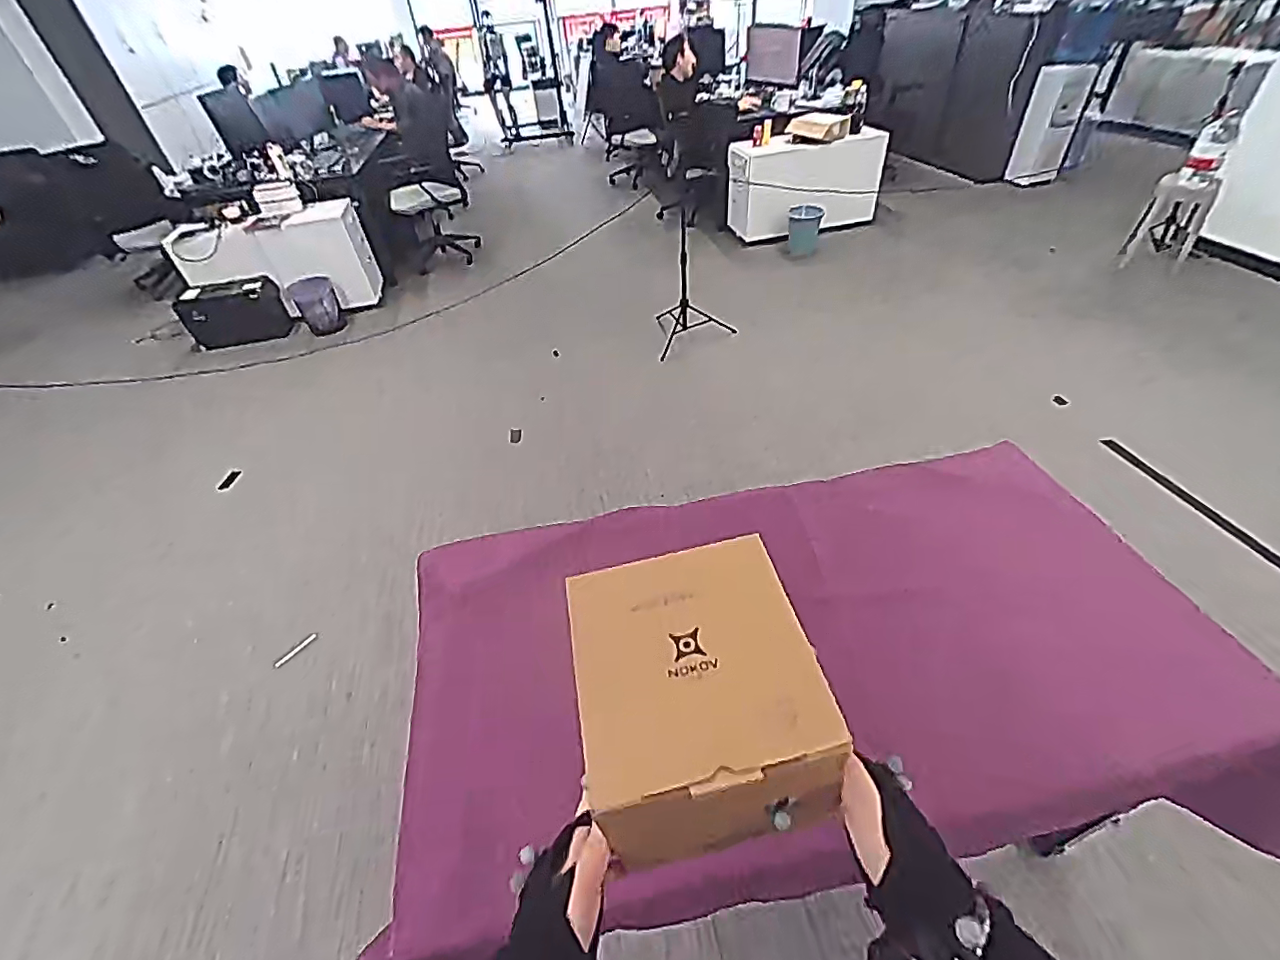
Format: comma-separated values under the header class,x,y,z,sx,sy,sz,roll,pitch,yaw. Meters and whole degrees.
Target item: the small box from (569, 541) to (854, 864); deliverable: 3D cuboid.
class,x,y,z,sx,sy,sz,roll,pitch,yaw
small box,0.047,0.181,0.433,0.168,0.176,0.179,-12,43,-3
